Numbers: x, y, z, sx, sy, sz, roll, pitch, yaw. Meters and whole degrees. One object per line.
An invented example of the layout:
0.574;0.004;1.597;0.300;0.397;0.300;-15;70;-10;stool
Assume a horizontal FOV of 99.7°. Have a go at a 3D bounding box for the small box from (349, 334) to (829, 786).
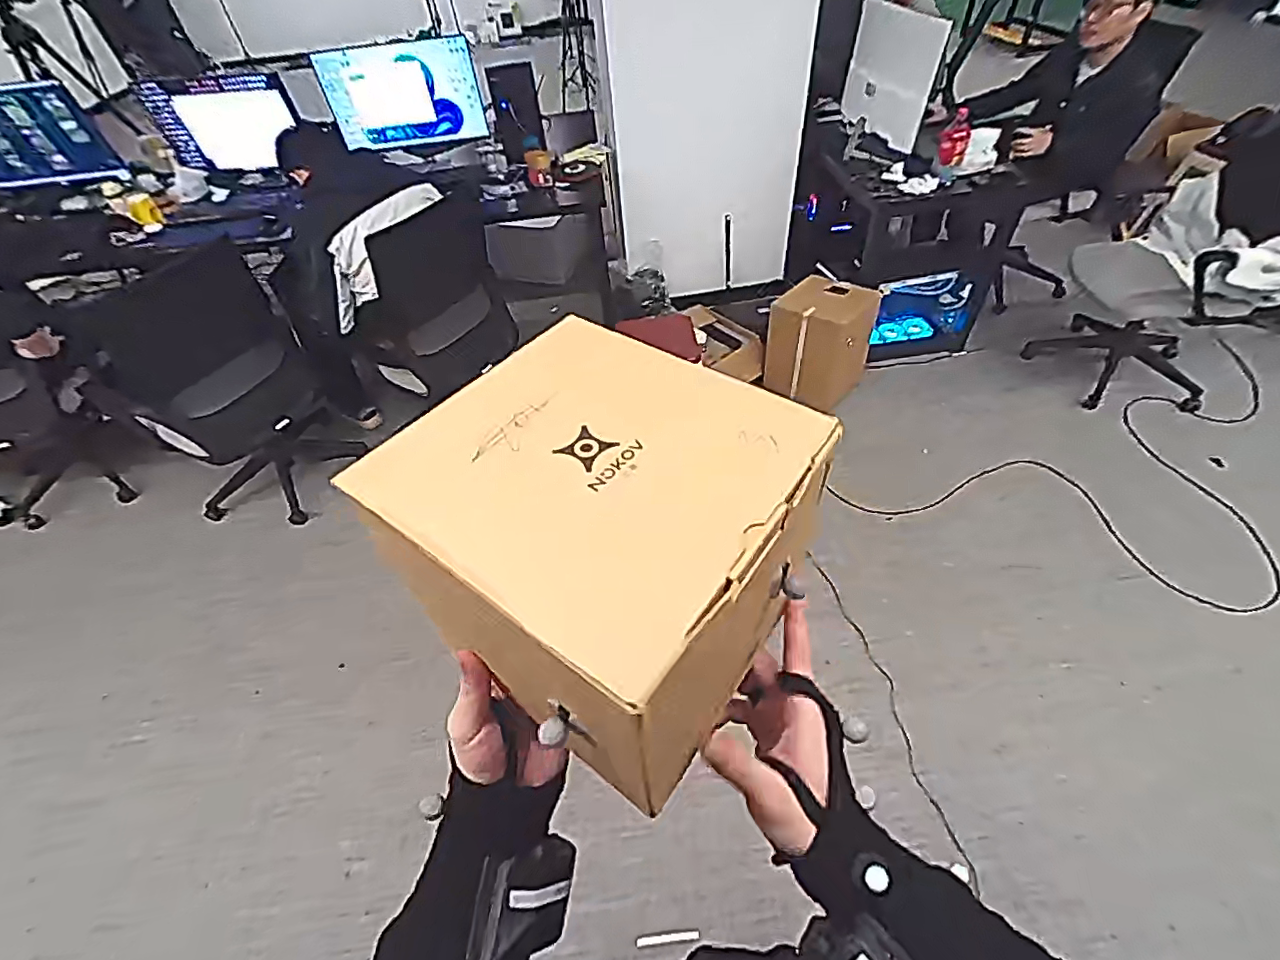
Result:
-0.018;0.048;0.320;0.179;0.176;0.168;26;54;25;small box
